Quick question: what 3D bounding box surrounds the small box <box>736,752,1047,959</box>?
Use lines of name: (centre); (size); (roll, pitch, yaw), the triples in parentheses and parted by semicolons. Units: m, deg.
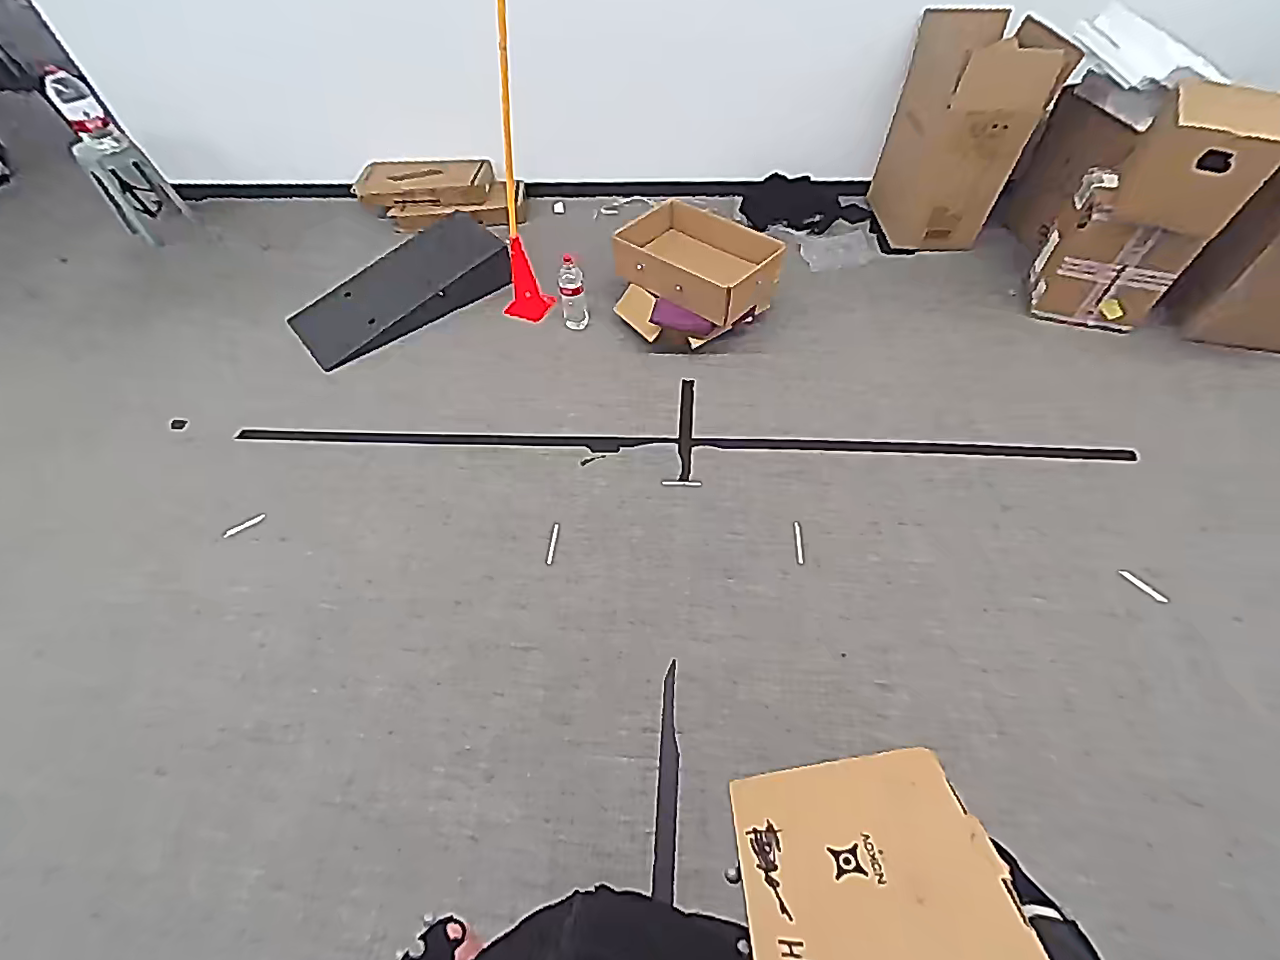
small box: (0.185, 0.356, 0.429); (0.179, 0.176, 0.168); (-13, 20, 7)
